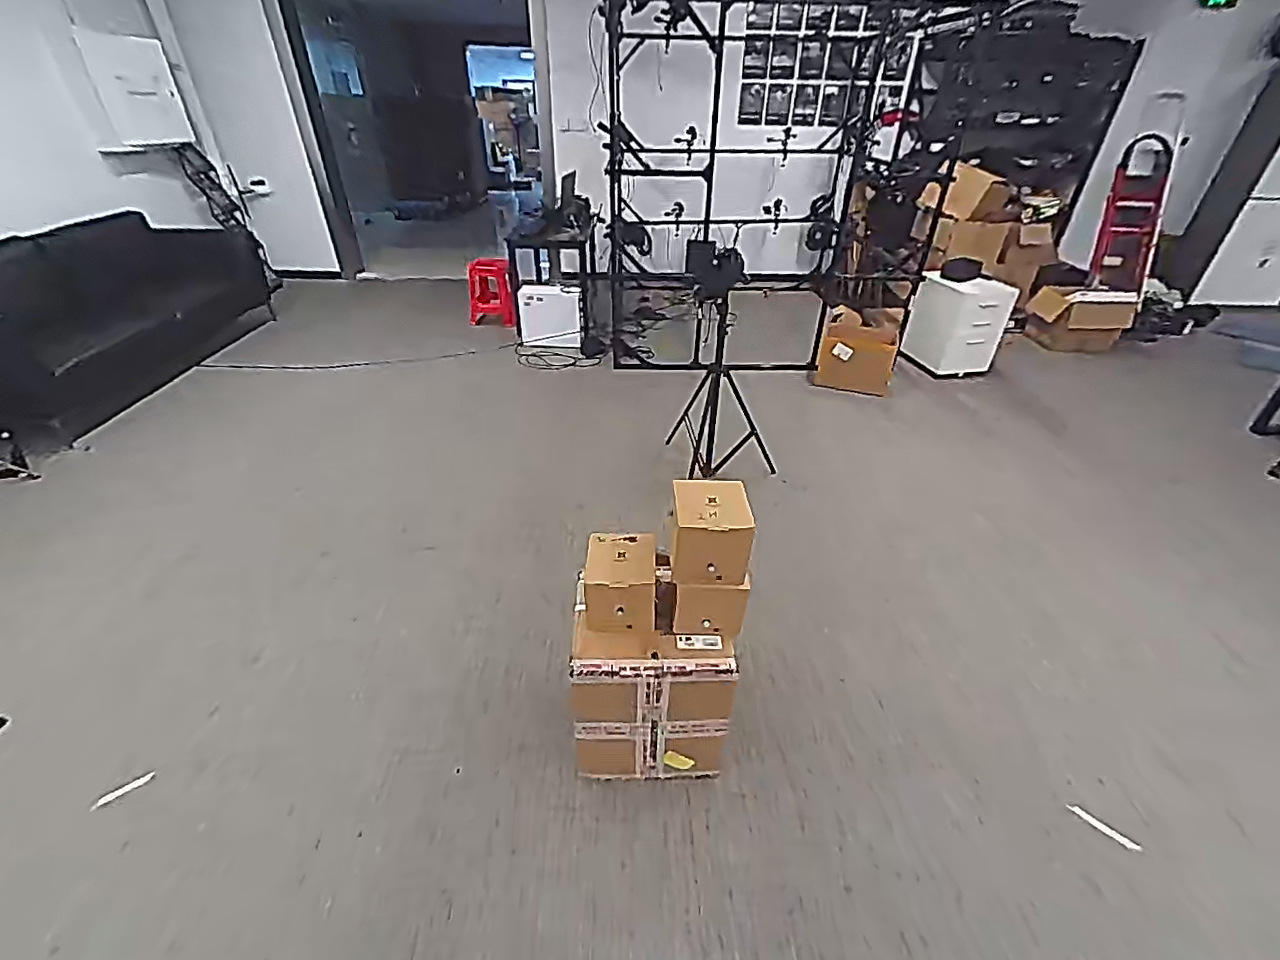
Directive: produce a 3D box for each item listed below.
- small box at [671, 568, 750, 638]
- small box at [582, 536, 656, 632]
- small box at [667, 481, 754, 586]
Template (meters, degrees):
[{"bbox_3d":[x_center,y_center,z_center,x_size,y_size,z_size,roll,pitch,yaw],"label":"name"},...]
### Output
[{"bbox_3d":[0.165,0.263,1.332,0.168,0.176,0.179,2,36,-1],"label":"small box"},{"bbox_3d":[-0.045,0.257,1.332,0.168,0.176,0.179,0,37,2],"label":"small box"},{"bbox_3d":[0.154,0.122,1.245,0.168,0.176,0.179,1,36,-3],"label":"small box"}]
